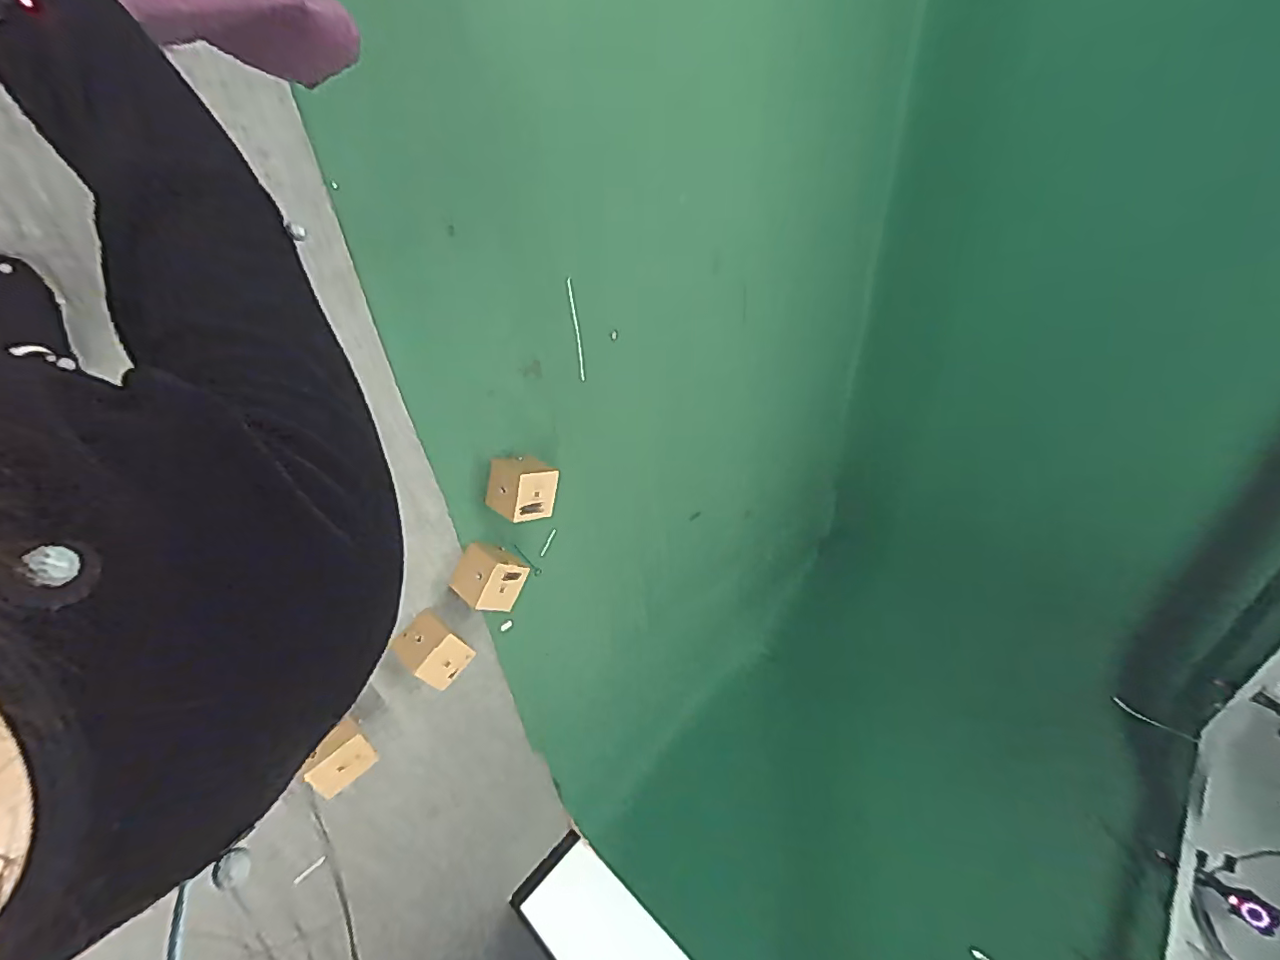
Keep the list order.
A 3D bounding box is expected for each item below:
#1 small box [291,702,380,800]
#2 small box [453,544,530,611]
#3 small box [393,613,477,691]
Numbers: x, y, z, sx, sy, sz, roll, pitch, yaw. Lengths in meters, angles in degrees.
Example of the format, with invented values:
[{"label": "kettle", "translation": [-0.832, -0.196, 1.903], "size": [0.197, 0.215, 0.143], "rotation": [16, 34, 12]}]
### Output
[{"label": "small box", "translation": [-0.960, 0.845, 1.696], "size": [0.179, 0.176, 0.168], "rotation": [-36, 136, -32]}, {"label": "small box", "translation": [-0.532, 0.346, 1.919], "size": [0.168, 0.176, 0.179], "rotation": [24, 92, -54]}, {"label": "small box", "translation": [-0.704, 0.582, 1.852], "size": [0.168, 0.176, 0.179], "rotation": [-48, 140, -20]}]
